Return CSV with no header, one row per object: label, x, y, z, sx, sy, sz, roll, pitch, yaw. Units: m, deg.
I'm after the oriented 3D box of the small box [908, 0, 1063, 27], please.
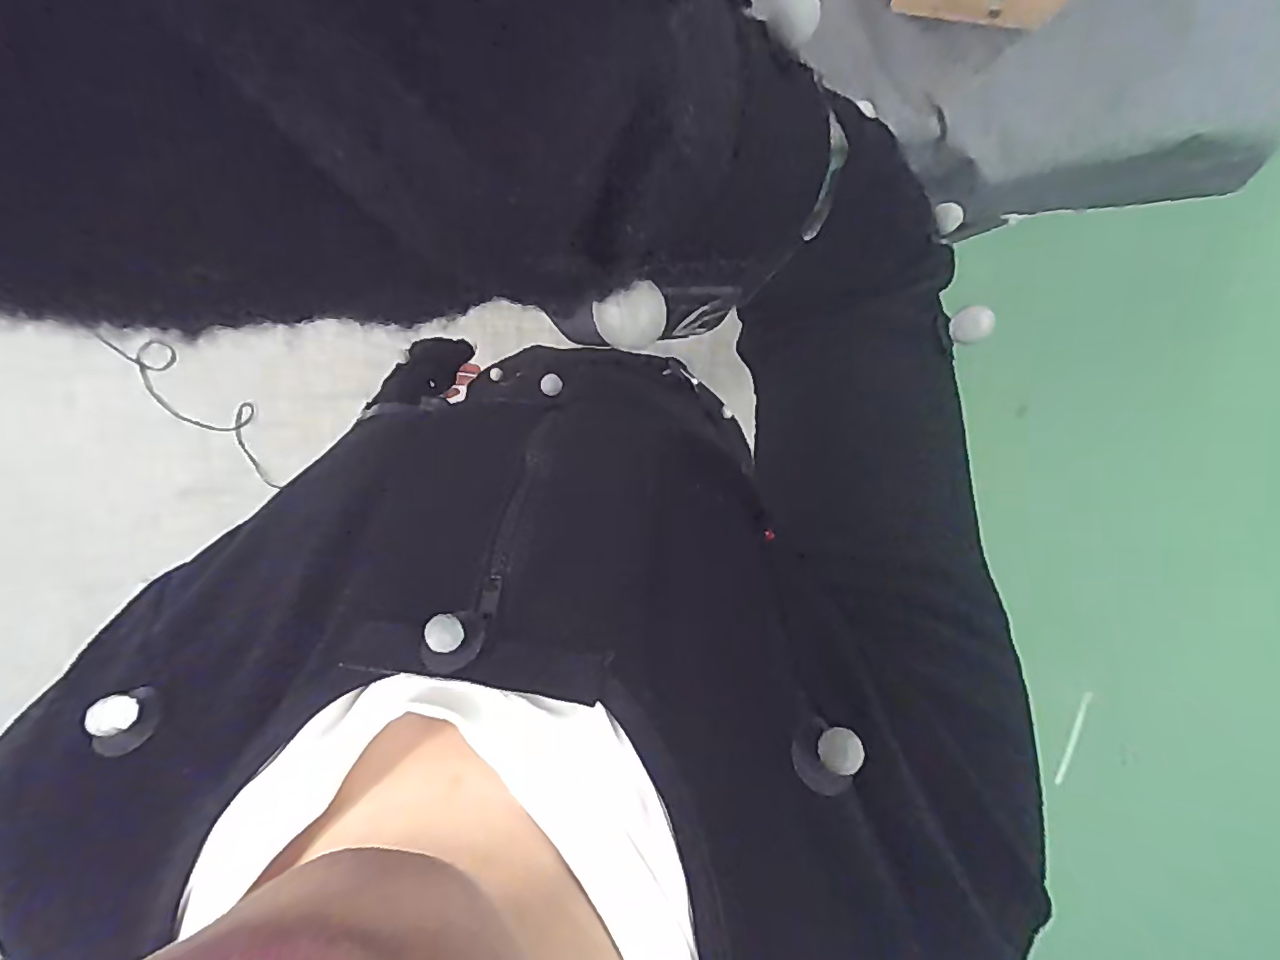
small box,0.362,-0.566,0.497,0.168,0.176,0.179,8,104,0
